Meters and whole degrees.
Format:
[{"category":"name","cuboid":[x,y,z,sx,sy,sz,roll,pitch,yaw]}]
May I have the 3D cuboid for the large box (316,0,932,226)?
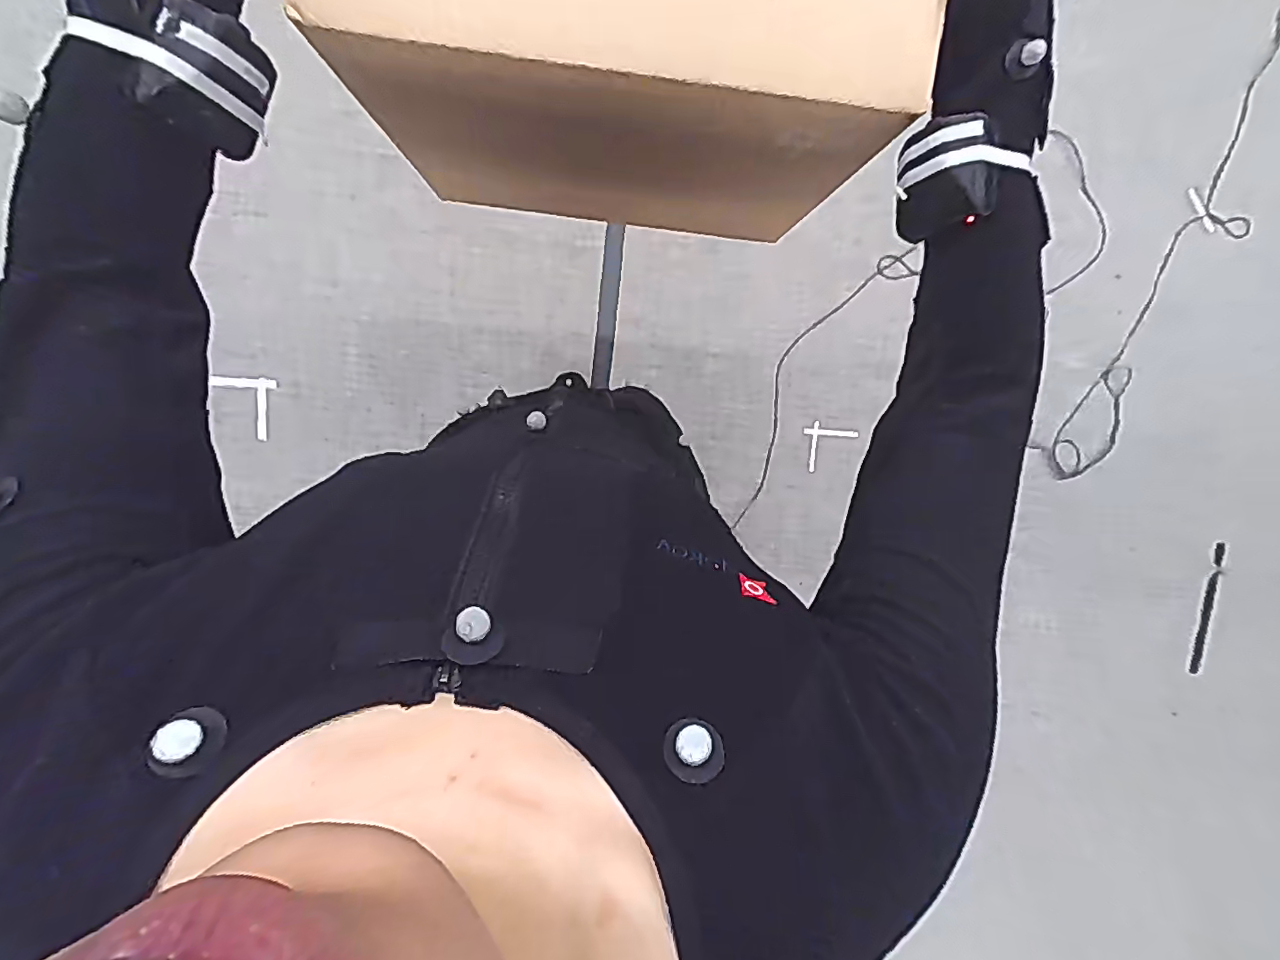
[{"category":"large box","cuboid":[-0.007,-0.446,0.475,0.408,0.320,0.320,4,100,-5]}]
